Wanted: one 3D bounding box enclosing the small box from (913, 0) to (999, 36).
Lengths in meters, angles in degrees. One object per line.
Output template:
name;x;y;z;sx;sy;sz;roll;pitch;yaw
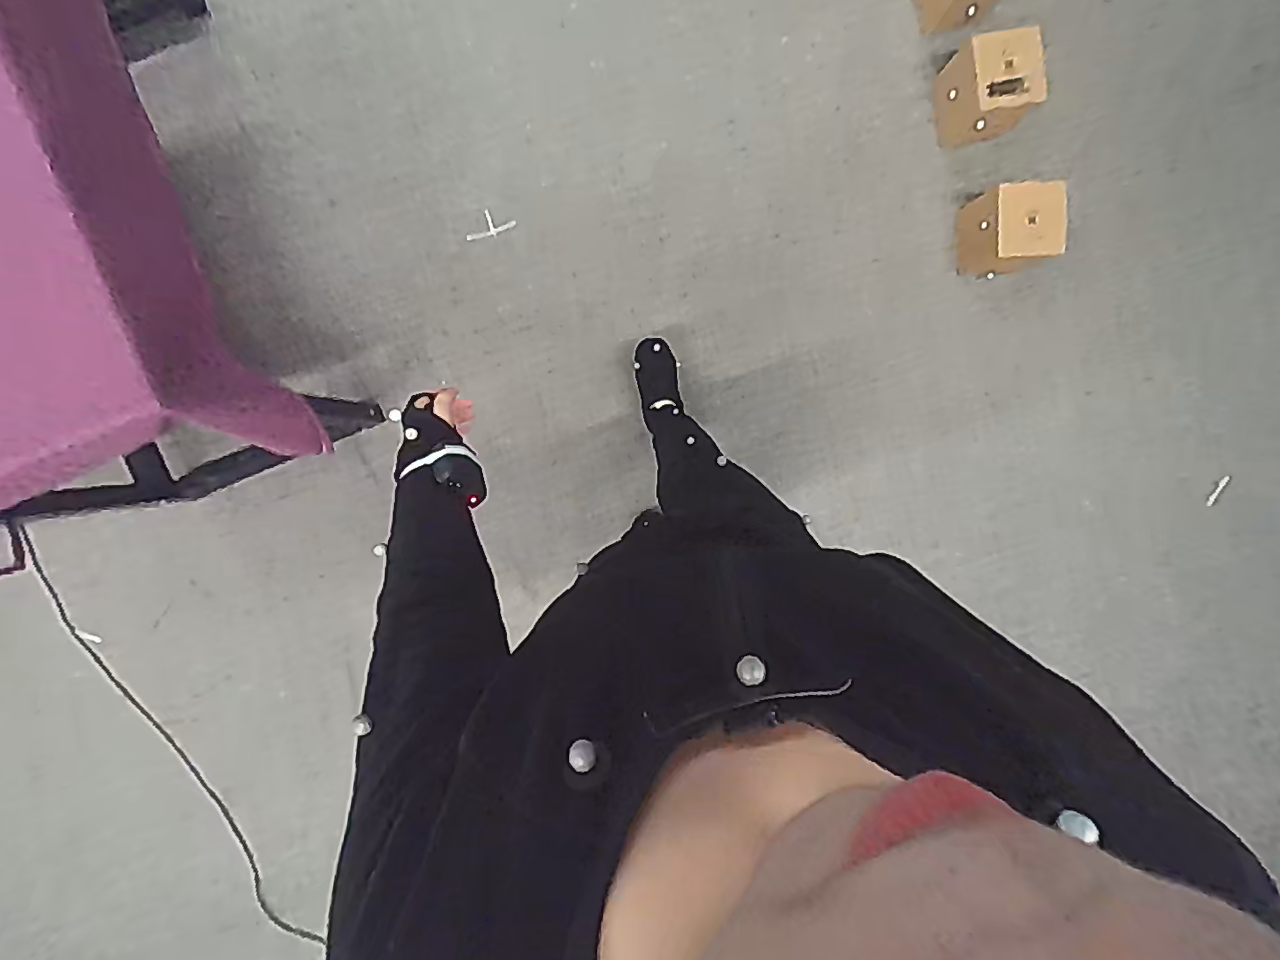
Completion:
small box;0.800;-1.250;1.336;0.168;0.176;0.179;-18;94;-1

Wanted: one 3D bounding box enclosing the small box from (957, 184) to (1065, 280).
small box;0.937;-0.626;1.379;0.168;0.176;0.179;-2;94;-1
